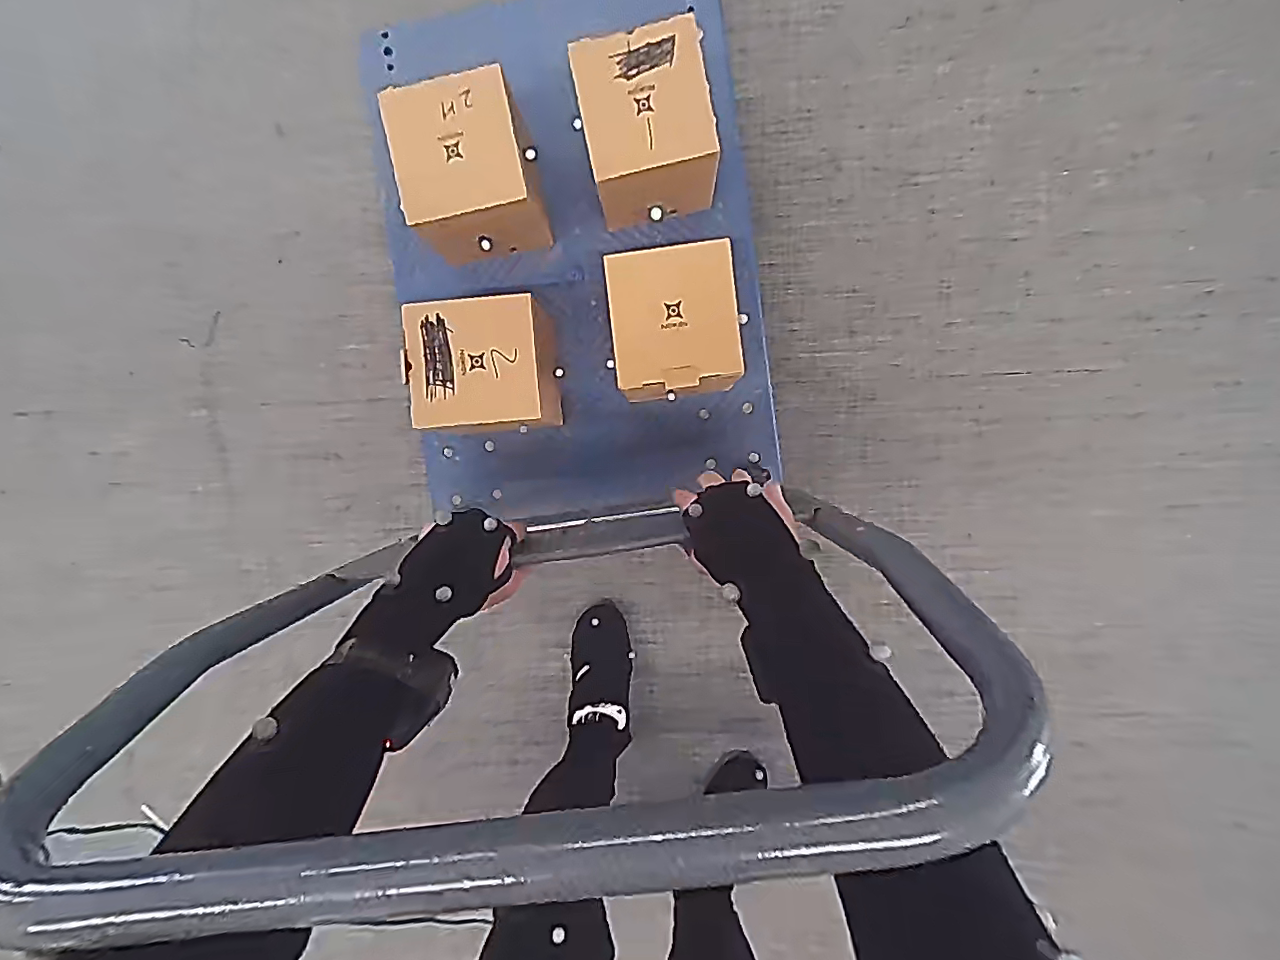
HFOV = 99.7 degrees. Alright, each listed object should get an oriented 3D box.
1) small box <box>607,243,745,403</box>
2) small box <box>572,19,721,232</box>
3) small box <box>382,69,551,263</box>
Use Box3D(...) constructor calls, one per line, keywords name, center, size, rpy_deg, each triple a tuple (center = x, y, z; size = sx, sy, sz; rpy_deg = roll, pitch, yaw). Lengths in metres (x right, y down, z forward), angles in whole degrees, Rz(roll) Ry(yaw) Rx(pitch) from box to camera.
Box3D(name="small box", center=(0.048, -0.213, 0.776), size=(0.168, 0.176, 0.179), rpy_deg=(-7, 93, 3))
Box3D(name="small box", center=(0.011, -0.481, 0.761), size=(0.168, 0.176, 0.179), rpy_deg=(-11, 94, 4))
Box3D(name="small box", center=(-0.235, -0.430, 0.776), size=(0.168, 0.176, 0.179), rpy_deg=(-11, 92, 3))
